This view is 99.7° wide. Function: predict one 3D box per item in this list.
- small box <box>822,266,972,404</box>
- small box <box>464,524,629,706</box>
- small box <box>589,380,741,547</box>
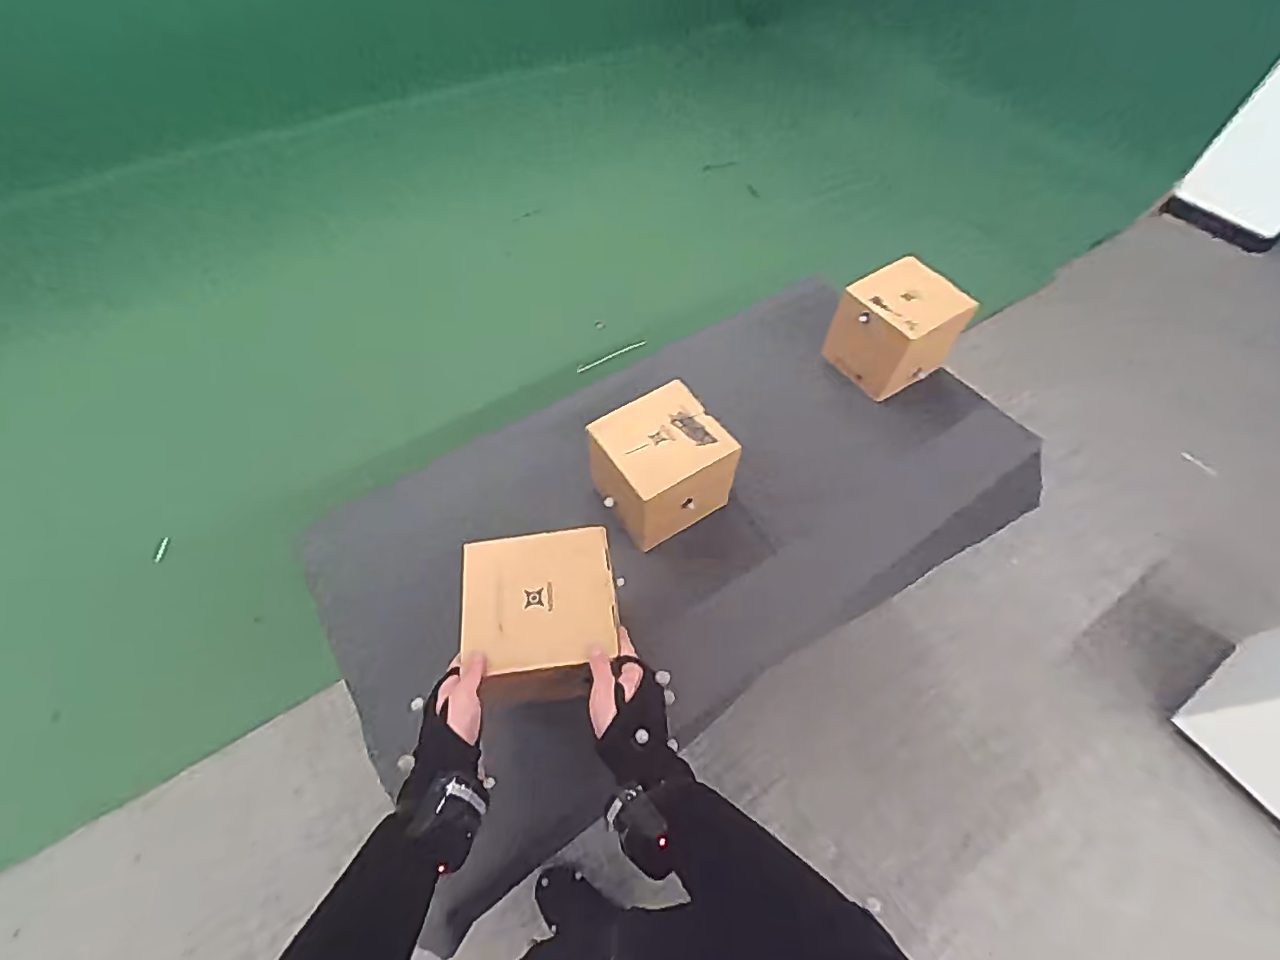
[{"bbox_3d":[0.491,-0.282,1.062,0.179,0.176,0.168,-27,62,-19],"label":"small box"},{"bbox_3d":[-0.108,0.173,0.678,0.179,0.176,0.168,-7,56,-4],"label":"small box"},{"bbox_3d":[0.032,-0.023,0.873,0.179,0.176,0.168,-28,62,-18],"label":"small box"}]
